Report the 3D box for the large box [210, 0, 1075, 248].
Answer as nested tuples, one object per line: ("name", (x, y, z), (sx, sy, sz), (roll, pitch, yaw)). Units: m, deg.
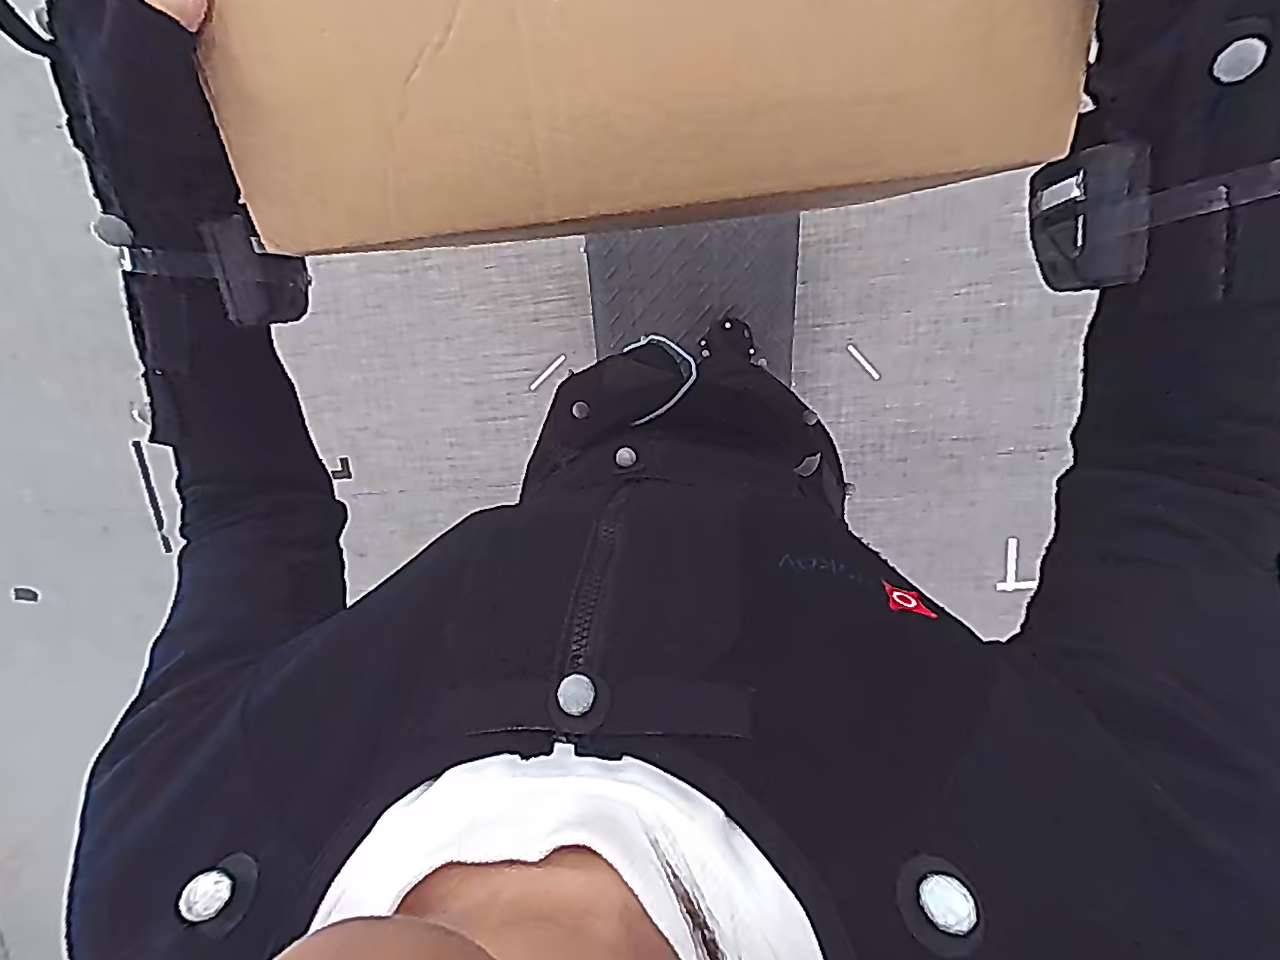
("large box", (-0.005, -0.348, 0.357), (0.408, 0.320, 0.320), (-3, 115, 8))
